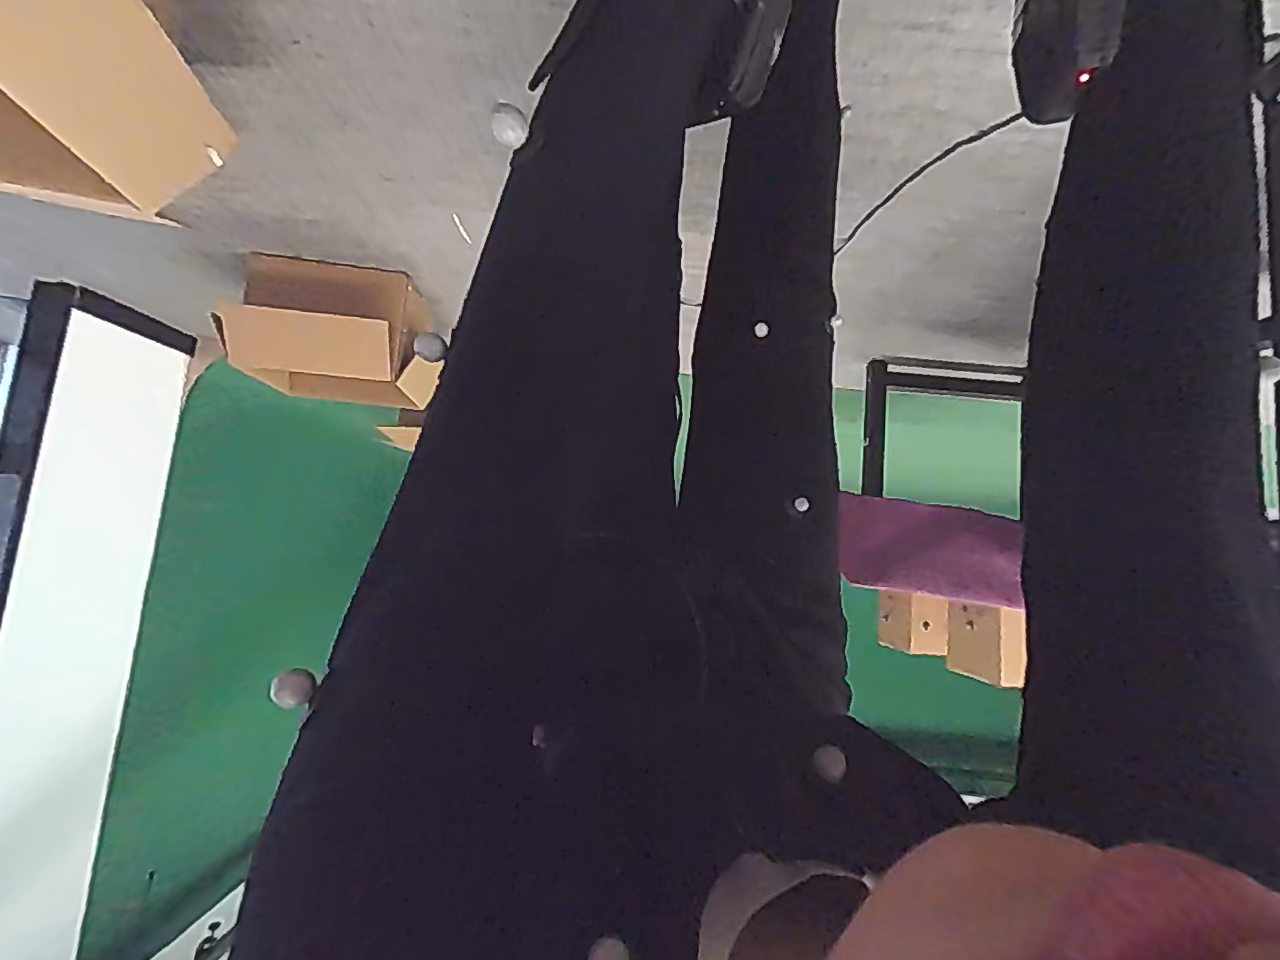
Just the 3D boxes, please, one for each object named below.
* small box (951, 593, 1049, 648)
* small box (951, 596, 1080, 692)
[{"bbox_3d":[1.017,0.415,1.531,0.179,0.176,0.168,7,173,-7],"label":"small box"},{"bbox_3d":[0.820,0.353,1.188,0.179,0.176,0.168,6,172,-5],"label":"small box"}]
